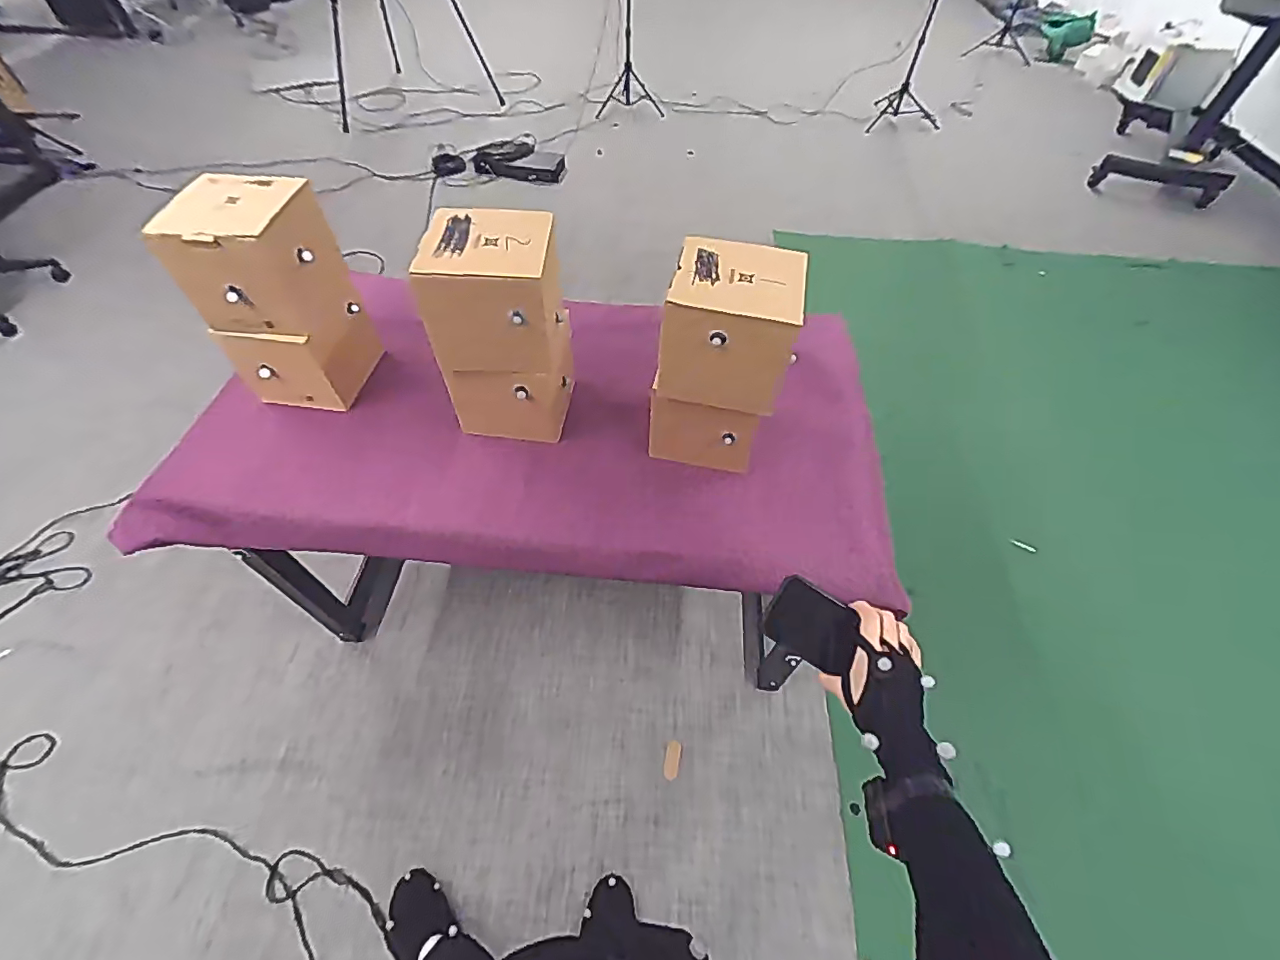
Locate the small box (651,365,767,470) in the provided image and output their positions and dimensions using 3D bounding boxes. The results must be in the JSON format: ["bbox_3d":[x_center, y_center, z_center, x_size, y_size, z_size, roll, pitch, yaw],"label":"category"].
[{"bbox_3d":[0.121,-0.136,0.919,0.179,0.176,0.168,11,54,8],"label":"small box"}]

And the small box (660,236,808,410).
[{"bbox_3d":[0.130,-0.221,0.778,0.179,0.176,0.168,11,54,6],"label":"small box"}]

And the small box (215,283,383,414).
[{"bbox_3d":[-0.601,-0.241,0.983,0.168,0.176,0.179,7,53,4],"label":"small box"}]

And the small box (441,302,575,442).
[{"bbox_3d":[-0.216,-0.184,0.946,0.179,0.176,0.168,6,53,4],"label":"small box"}]

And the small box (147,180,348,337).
[{"bbox_3d":[-0.597,-0.346,0.856,0.168,0.176,0.179,3,54,0],"label":"small box"}]
